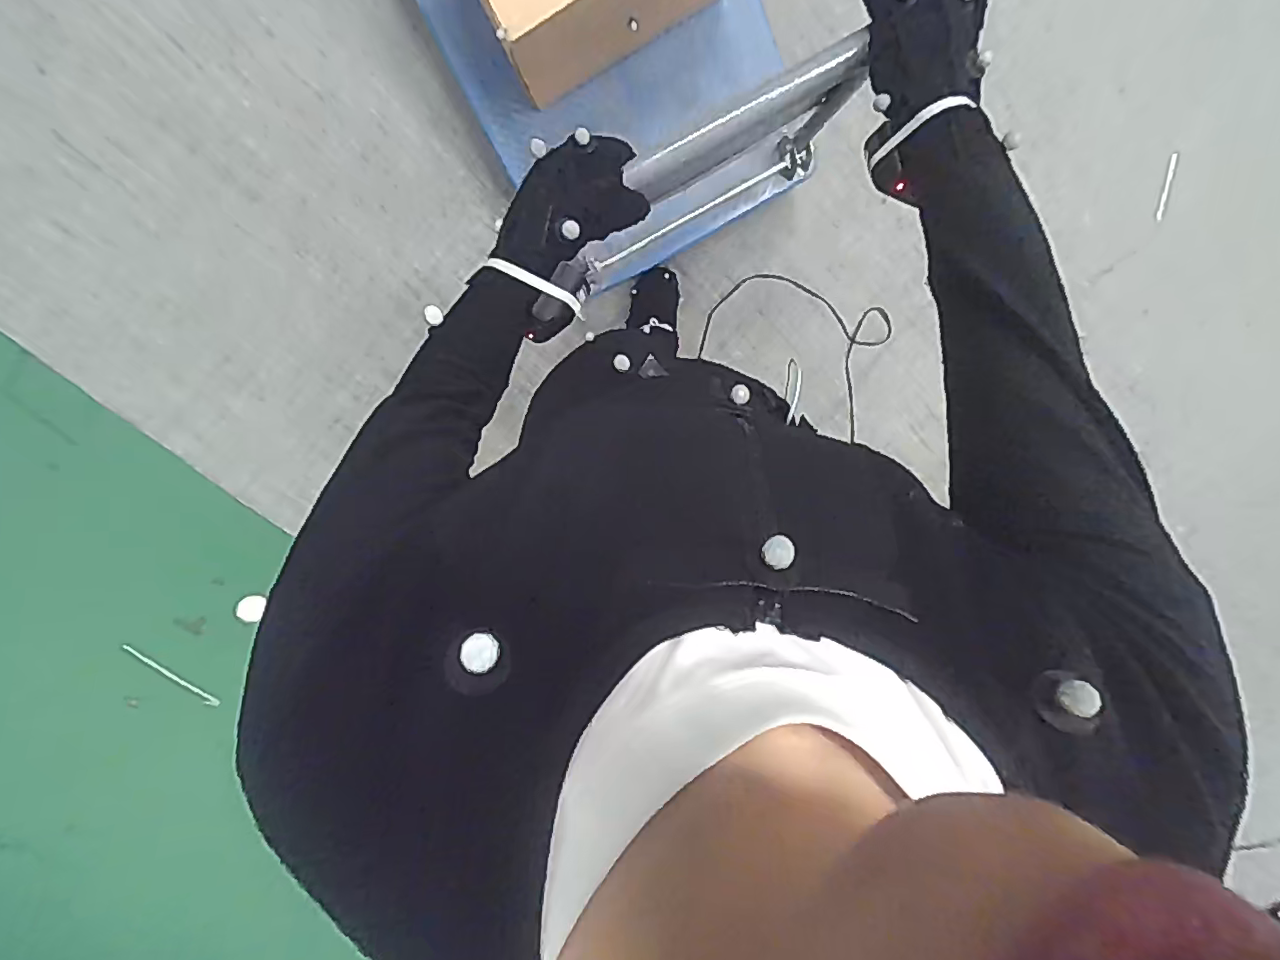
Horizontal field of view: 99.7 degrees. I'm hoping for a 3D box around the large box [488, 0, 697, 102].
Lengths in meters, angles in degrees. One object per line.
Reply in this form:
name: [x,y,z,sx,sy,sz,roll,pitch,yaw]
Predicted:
large box: [-0.086,-0.903,0.850,0.408,0.320,0.320,-28,107,9]
